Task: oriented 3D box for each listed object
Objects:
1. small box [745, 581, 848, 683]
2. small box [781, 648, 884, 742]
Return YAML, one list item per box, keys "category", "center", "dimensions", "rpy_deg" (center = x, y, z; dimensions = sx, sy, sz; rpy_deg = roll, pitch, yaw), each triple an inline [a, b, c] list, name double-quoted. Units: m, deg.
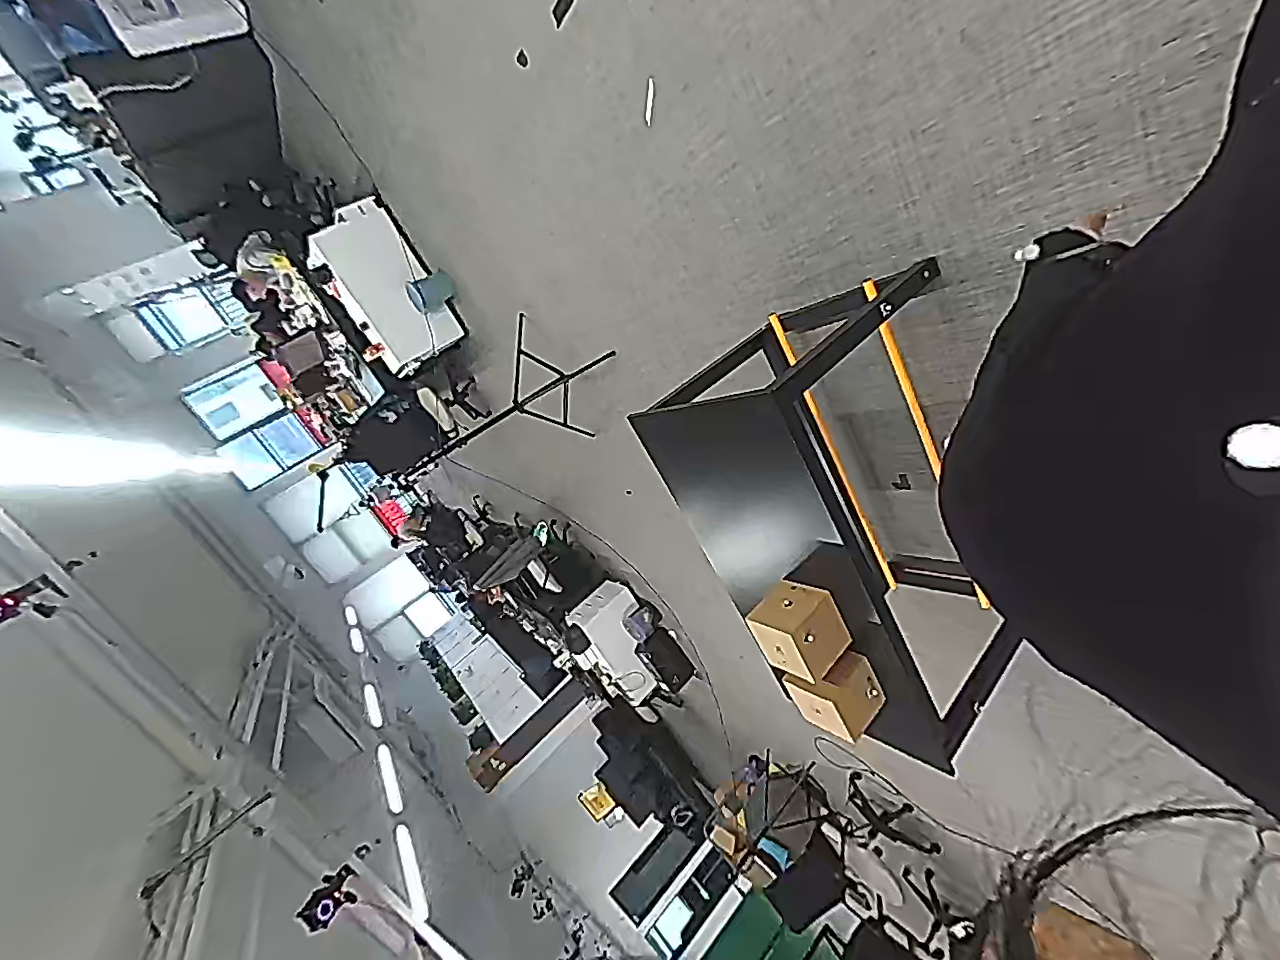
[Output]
- category: "small box"
  center: [0.418, 0.393, 1.436]
  dimensions: [0.168, 0.176, 0.179]
  rpy_deg: [5, 129, 59]
- category: "small box"
  center: [0.533, 0.572, 1.493]
  dimensions: [0.179, 0.176, 0.168]
  rpy_deg: [1, 127, 59]
